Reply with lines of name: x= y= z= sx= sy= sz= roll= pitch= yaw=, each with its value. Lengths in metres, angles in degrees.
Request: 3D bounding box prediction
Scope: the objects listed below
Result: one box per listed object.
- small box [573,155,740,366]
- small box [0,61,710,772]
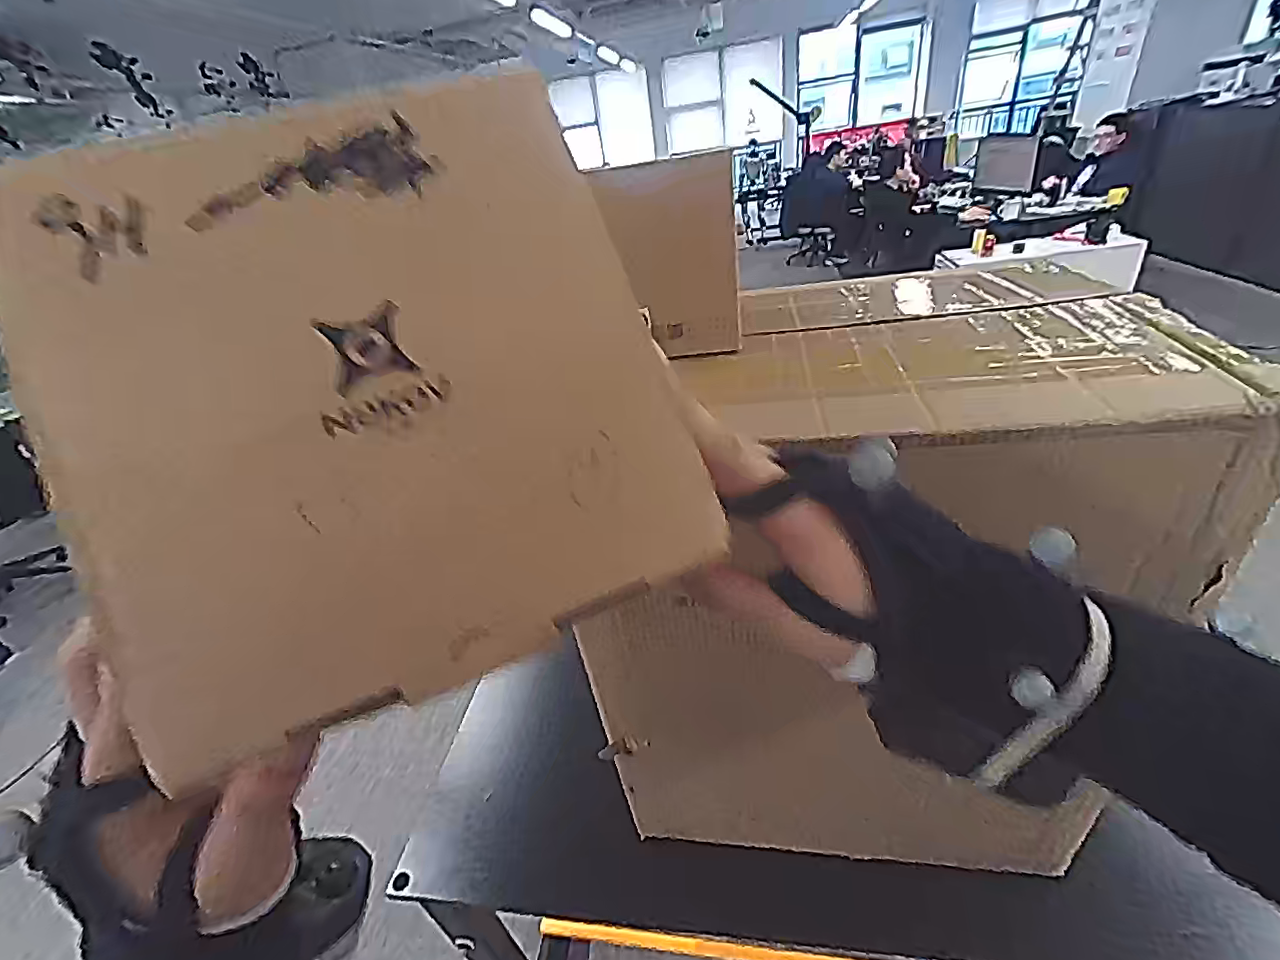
small box: x=0.012 y=-0.224 z=0.557 sx=0.168 sy=0.176 sz=0.179 roll=-5 pitch=31 yaw=9
small box: x=-0.094 y=-0.022 z=0.238 sx=0.168 sy=0.179 sz=0.176 roll=-22 pitch=-3 yaw=-12
